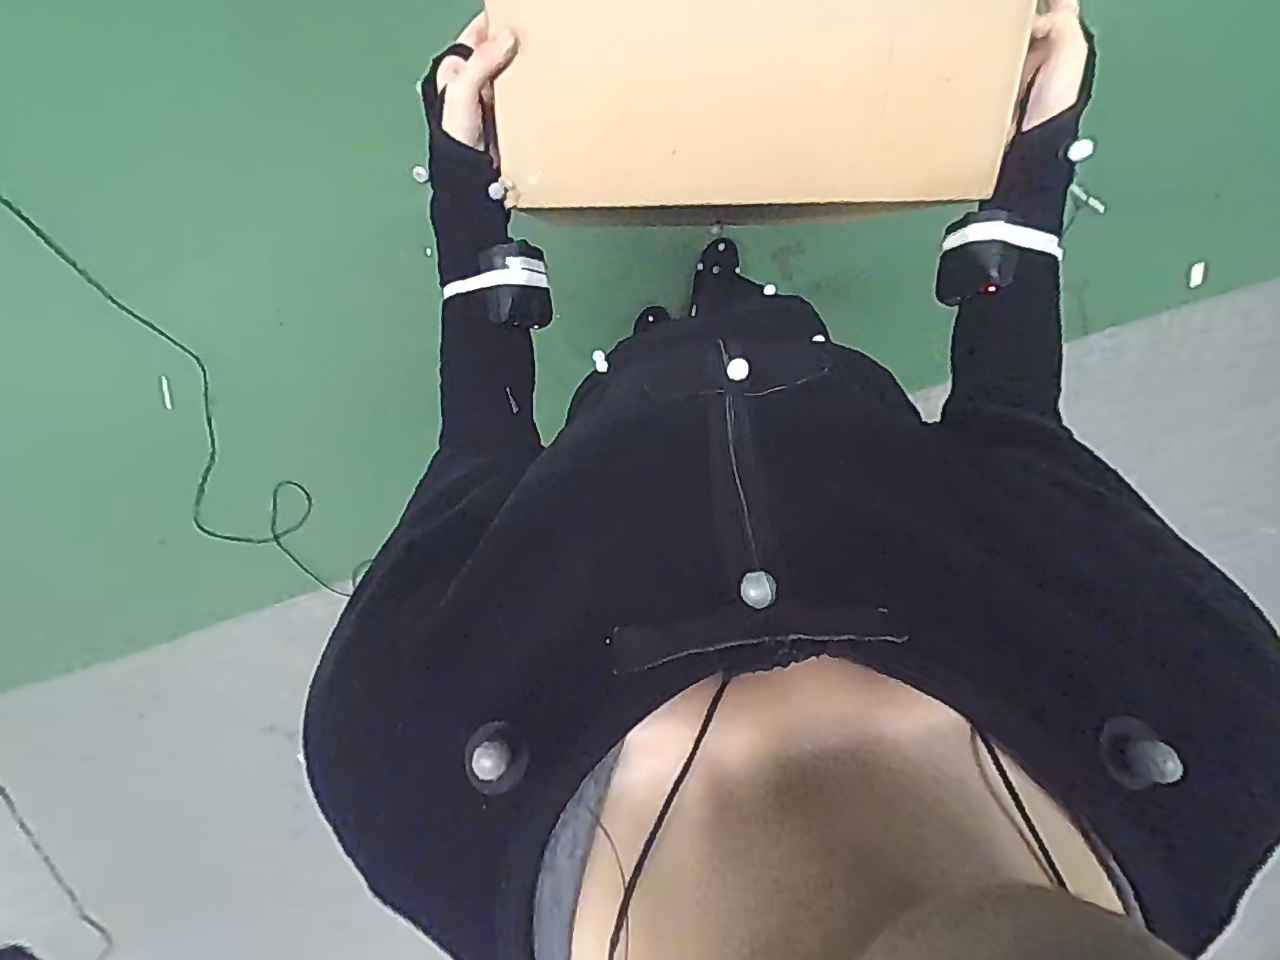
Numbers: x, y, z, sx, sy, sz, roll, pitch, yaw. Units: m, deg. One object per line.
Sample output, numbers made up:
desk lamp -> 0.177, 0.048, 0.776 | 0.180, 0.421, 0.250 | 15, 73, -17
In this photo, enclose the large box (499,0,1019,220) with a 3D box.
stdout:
large box -> 0.090, -0.437, 0.537 | 0.408, 0.320, 0.320 | -1, 112, -1
